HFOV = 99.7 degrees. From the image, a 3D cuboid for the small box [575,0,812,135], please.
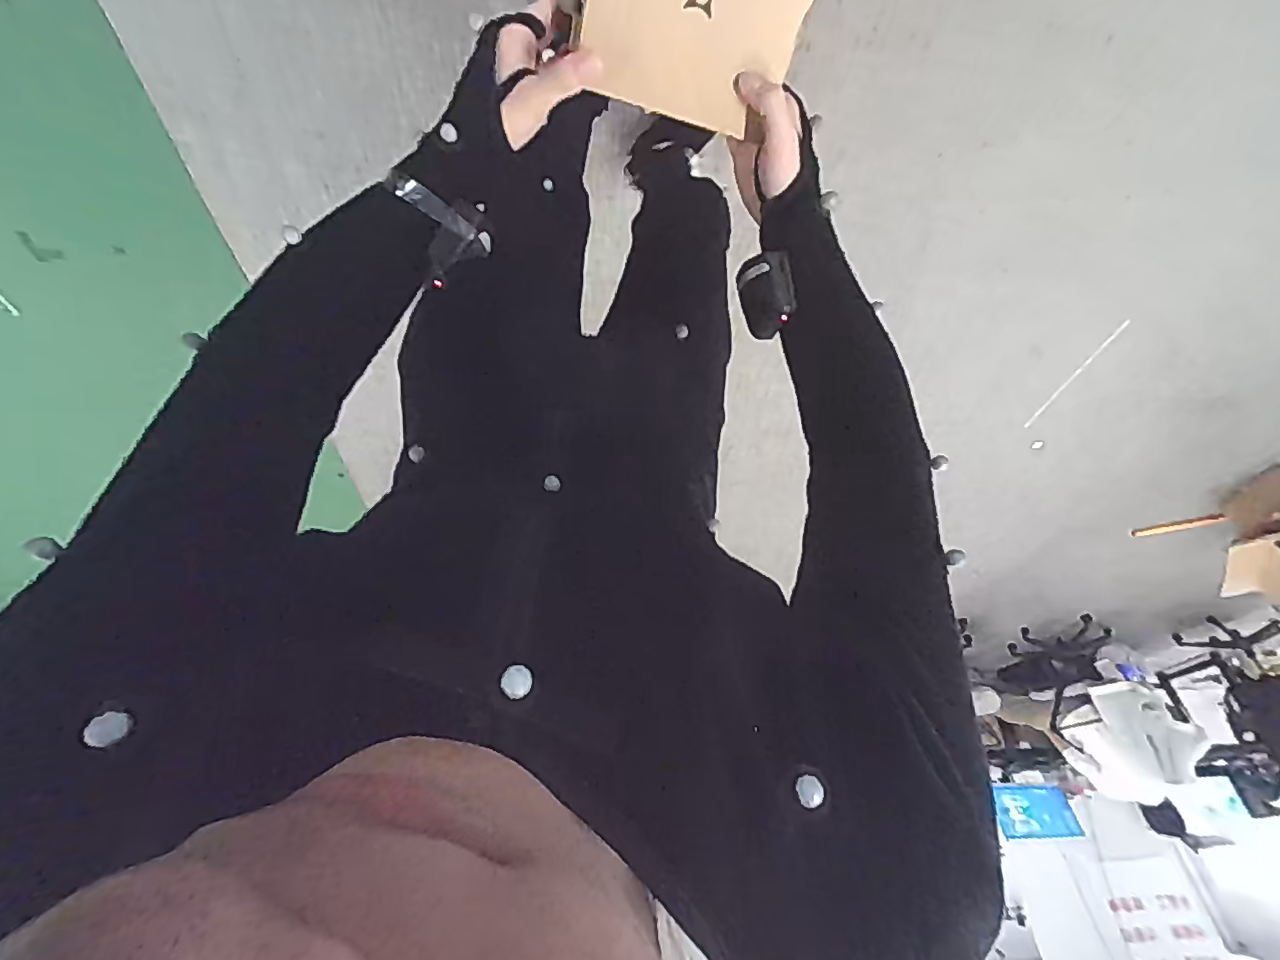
[{"bbox_3d":[0.043,-0.424,0.448,0.168,0.176,0.179,7,131,-16],"label":"small box"}]
